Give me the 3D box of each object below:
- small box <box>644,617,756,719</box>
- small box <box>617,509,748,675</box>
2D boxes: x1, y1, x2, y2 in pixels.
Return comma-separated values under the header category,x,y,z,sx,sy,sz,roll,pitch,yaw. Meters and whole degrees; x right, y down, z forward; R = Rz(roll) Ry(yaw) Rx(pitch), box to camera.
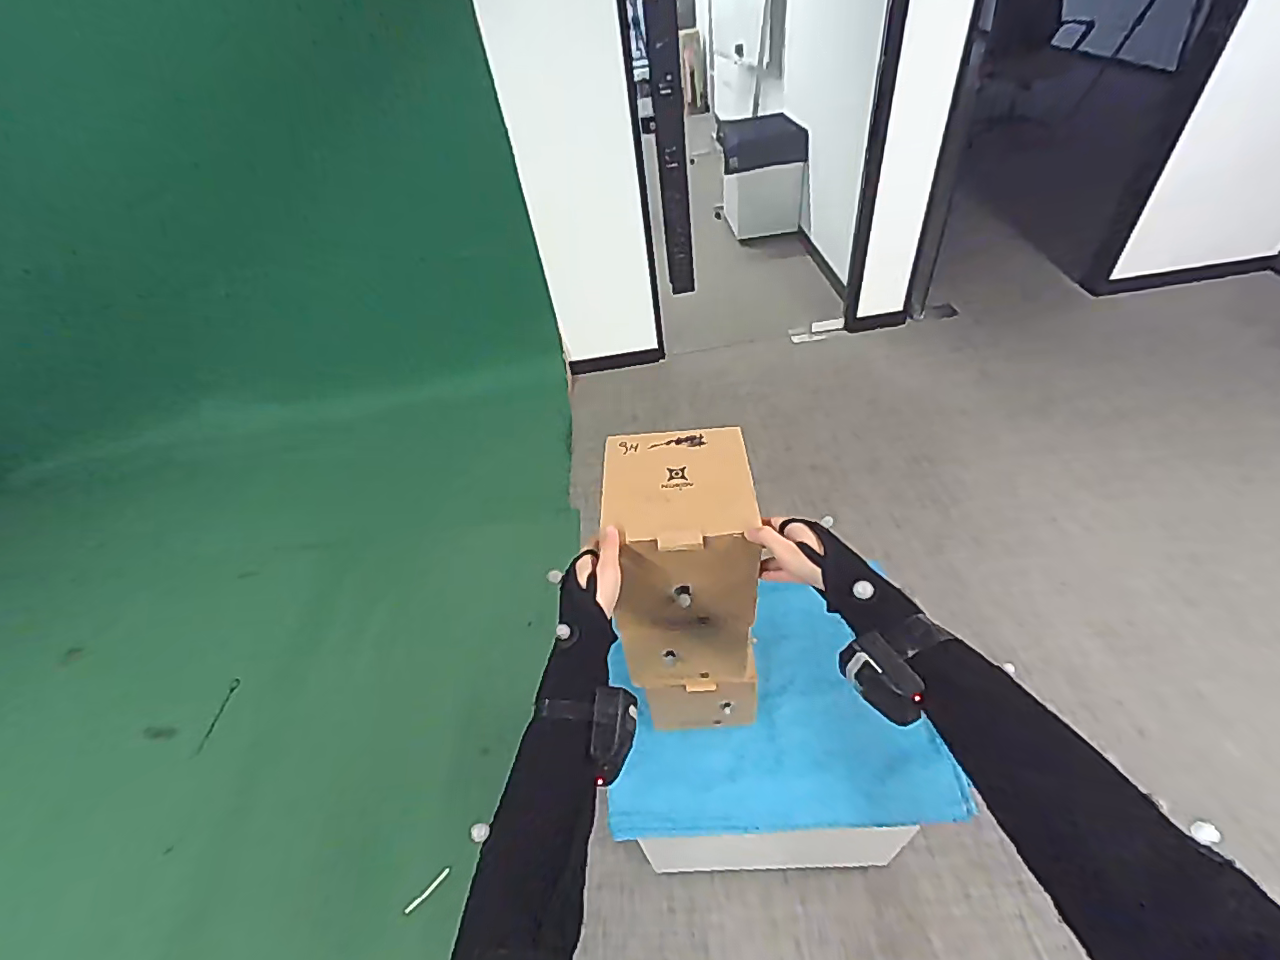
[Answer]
category,x,y,z,sx,sy,sz,roll,pitch,yaw
small box,0.096,0.278,0.887,0.168,0.176,0.179,-5,44,4
small box,0.064,0.166,0.774,0.168,0.176,0.179,-4,44,5
